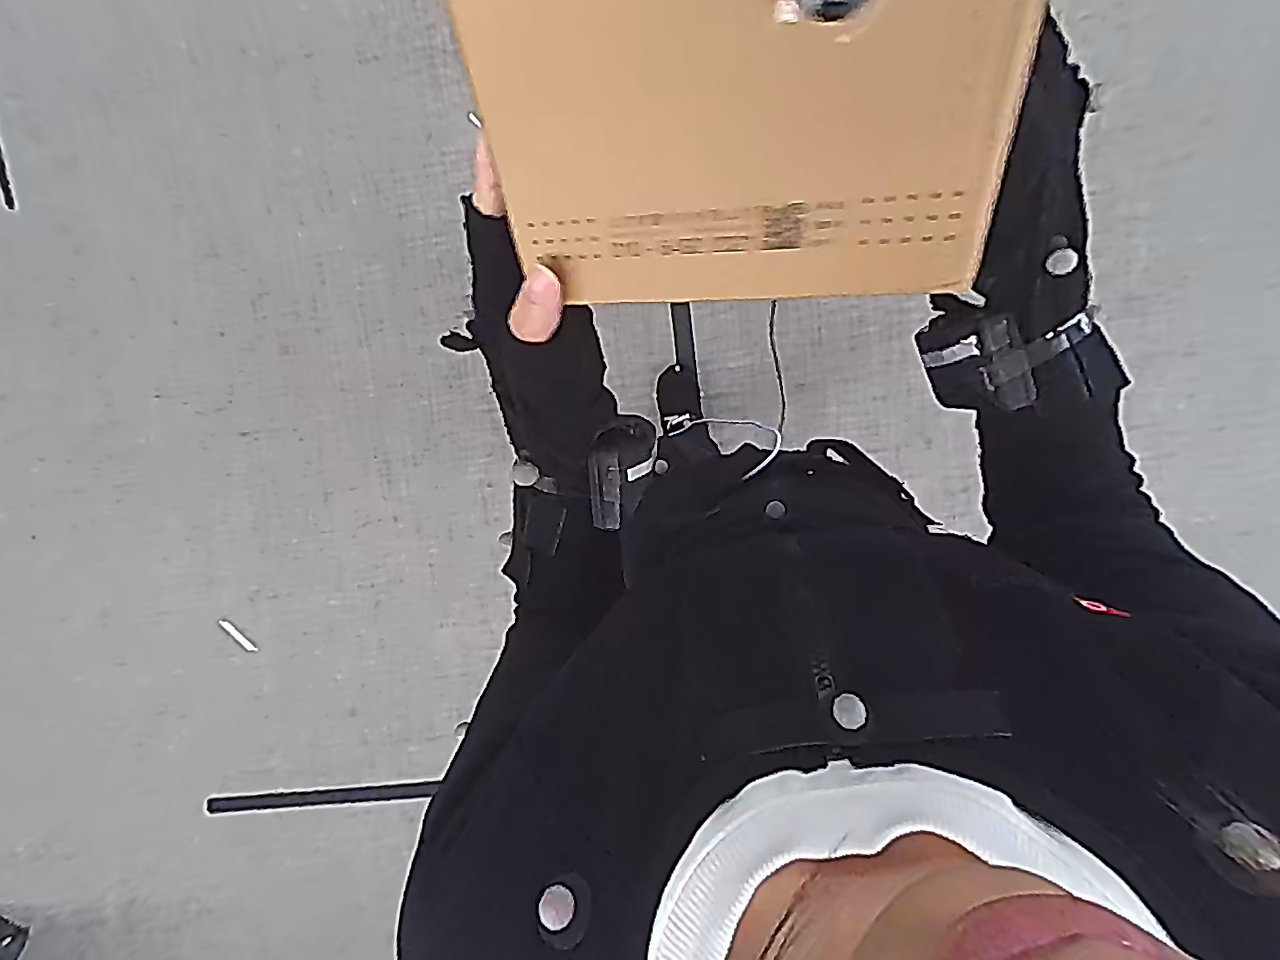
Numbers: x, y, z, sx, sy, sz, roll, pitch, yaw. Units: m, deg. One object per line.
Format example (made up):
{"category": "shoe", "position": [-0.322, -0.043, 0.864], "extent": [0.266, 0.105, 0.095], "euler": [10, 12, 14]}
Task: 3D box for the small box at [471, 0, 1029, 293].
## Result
{"category": "small box", "position": [0.046, -0.186, 0.218], "extent": [0.168, 0.179, 0.176], "euler": [4, 133, 16]}
